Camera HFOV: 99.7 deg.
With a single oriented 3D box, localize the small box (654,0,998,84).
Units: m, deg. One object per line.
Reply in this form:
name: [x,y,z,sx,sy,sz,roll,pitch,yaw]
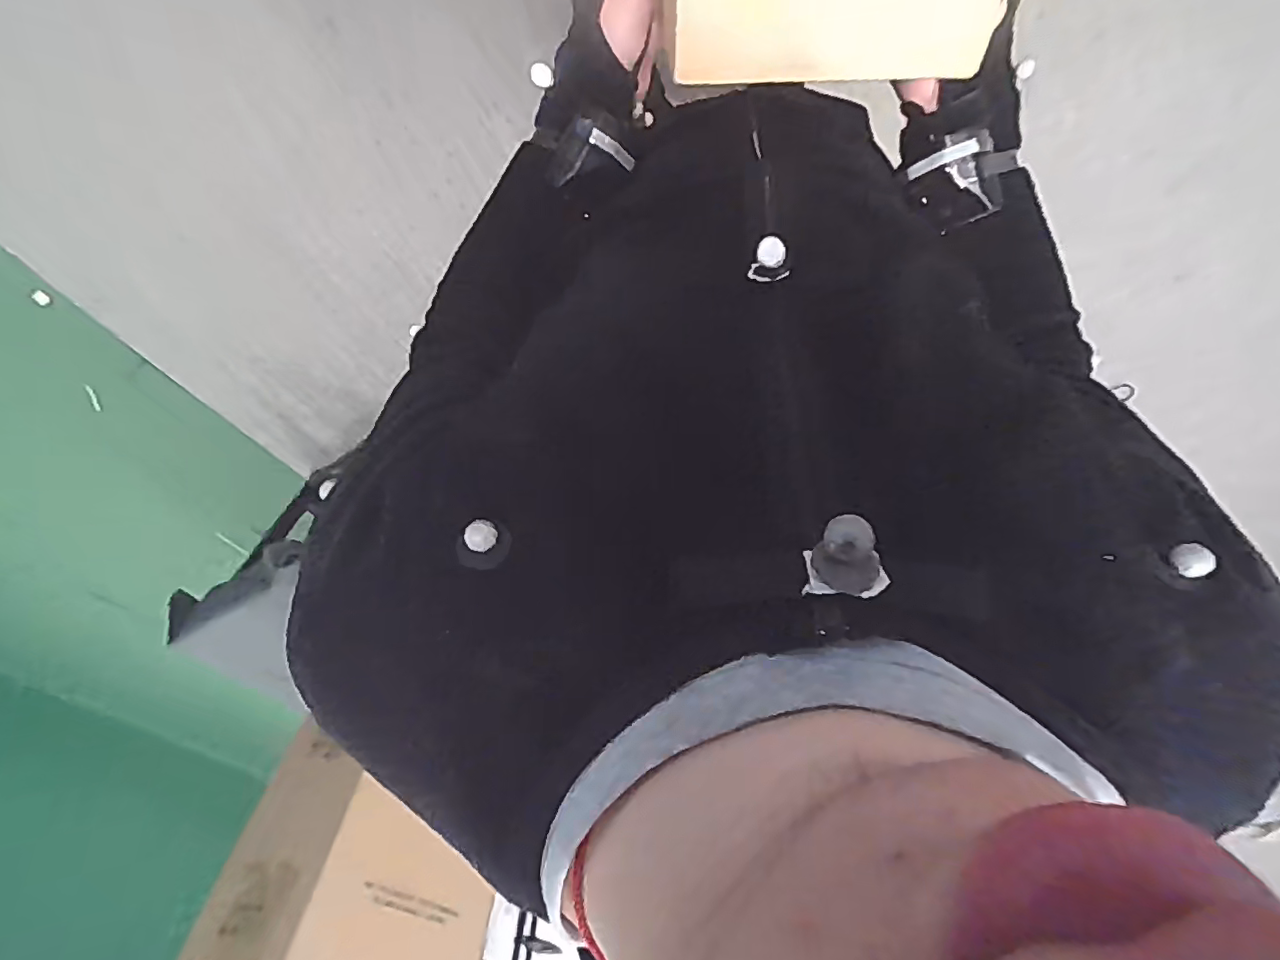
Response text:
small box: [0.099,-0.340,0.299,0.179,0.176,0.168,-2,138,0]
